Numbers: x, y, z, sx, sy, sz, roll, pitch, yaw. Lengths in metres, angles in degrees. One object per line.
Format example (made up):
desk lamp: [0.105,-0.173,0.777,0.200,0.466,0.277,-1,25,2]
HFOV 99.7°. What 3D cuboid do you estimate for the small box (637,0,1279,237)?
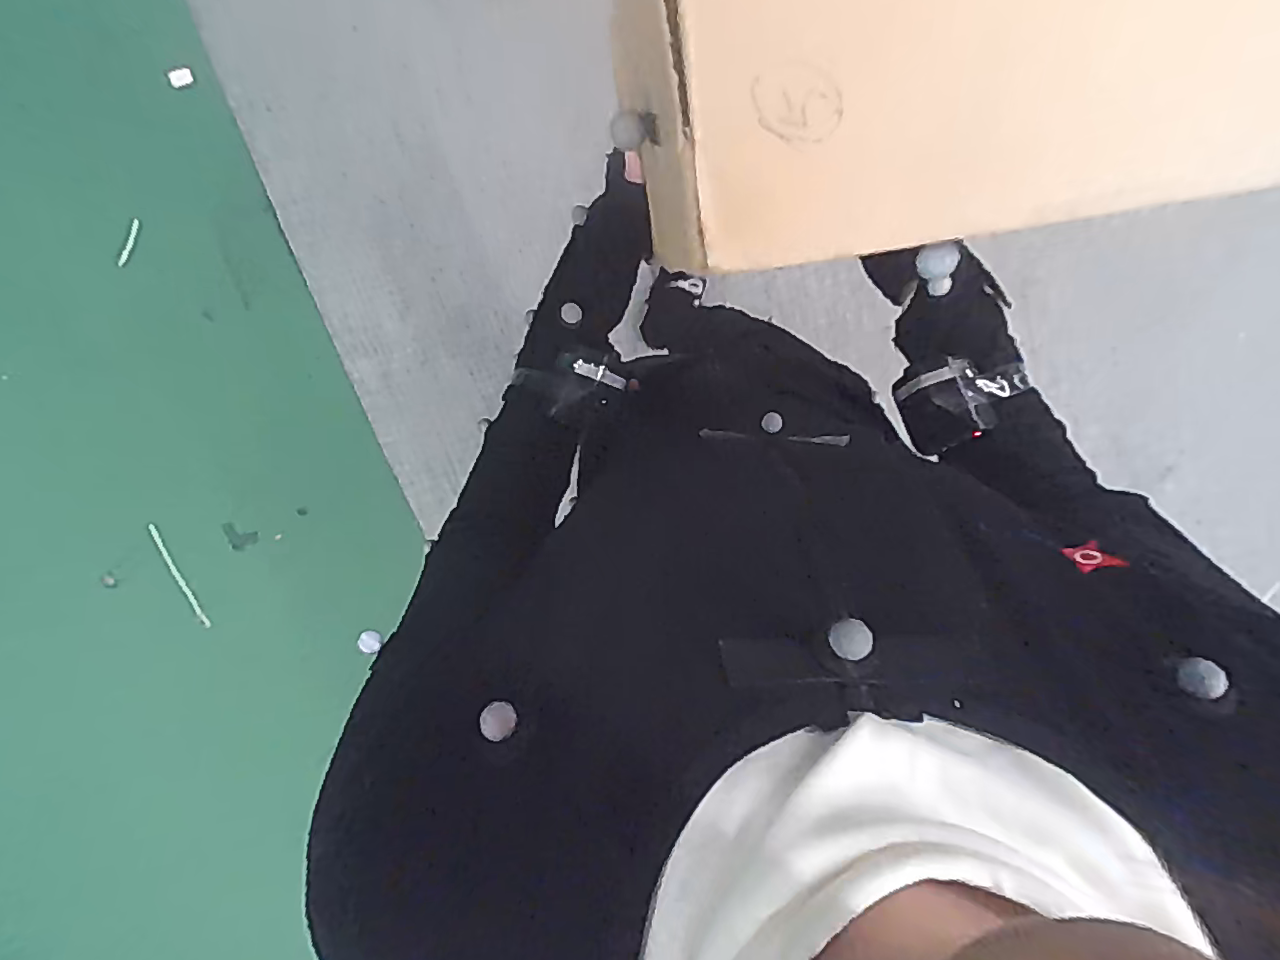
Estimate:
small box: [0.087,-0.179,0.175,0.179,0.176,0.168,-9,115,1]

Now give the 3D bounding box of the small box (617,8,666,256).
small box: [0.077,-0.301,0.477,0.179,0.176,0.168,-9,113,3]

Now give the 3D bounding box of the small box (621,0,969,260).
small box: [0.081,-0.243,0.325,0.168,0.176,0.179,-10,115,3]
